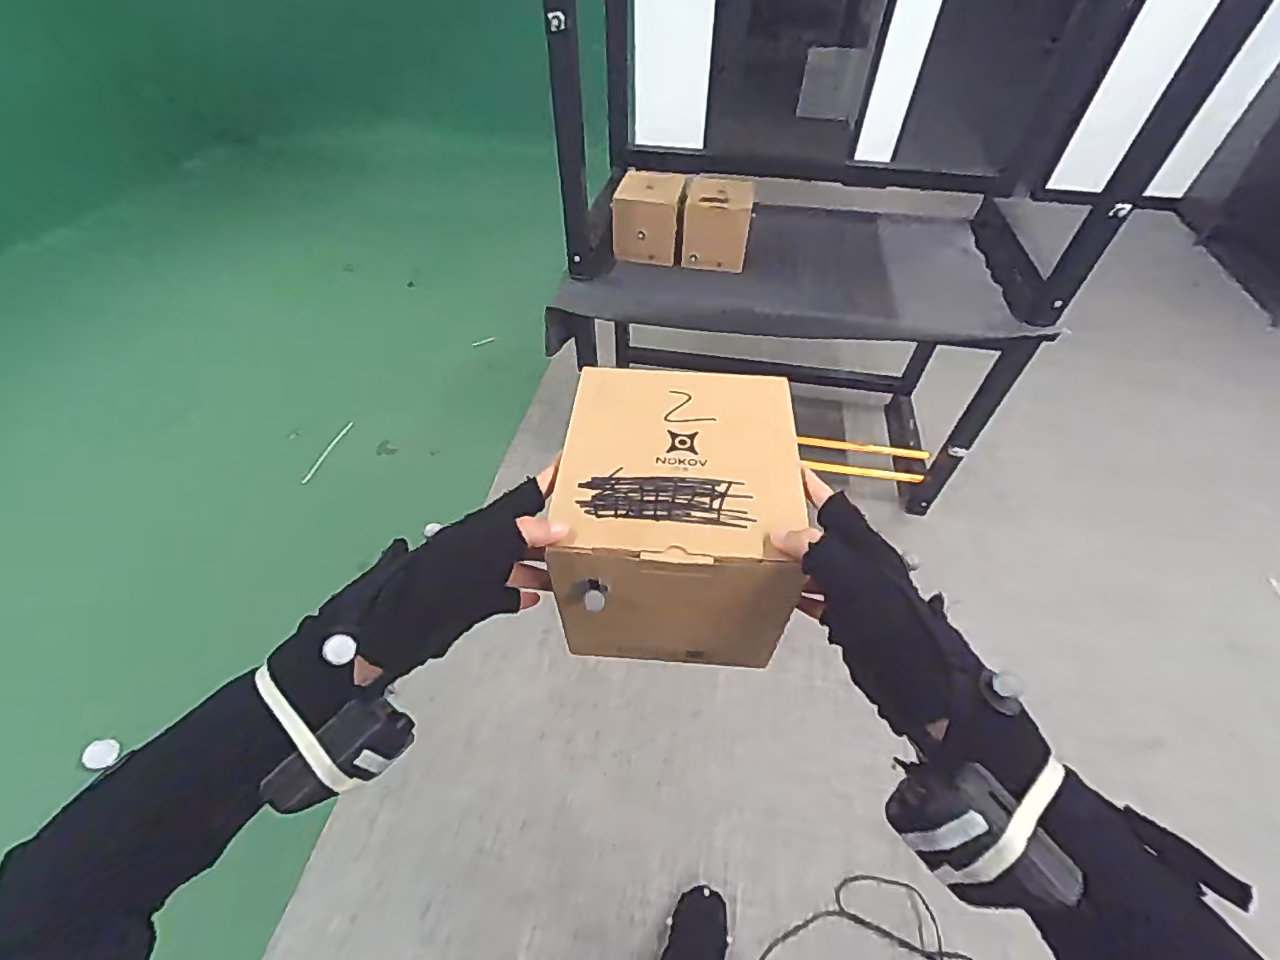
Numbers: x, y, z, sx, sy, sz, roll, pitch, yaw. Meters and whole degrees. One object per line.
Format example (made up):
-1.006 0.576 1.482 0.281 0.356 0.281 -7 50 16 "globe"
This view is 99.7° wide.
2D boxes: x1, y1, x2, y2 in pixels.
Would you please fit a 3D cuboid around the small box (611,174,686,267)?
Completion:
0.024 -0.698 1.459 0.168 0.176 0.179 11 50 7 "small box"
